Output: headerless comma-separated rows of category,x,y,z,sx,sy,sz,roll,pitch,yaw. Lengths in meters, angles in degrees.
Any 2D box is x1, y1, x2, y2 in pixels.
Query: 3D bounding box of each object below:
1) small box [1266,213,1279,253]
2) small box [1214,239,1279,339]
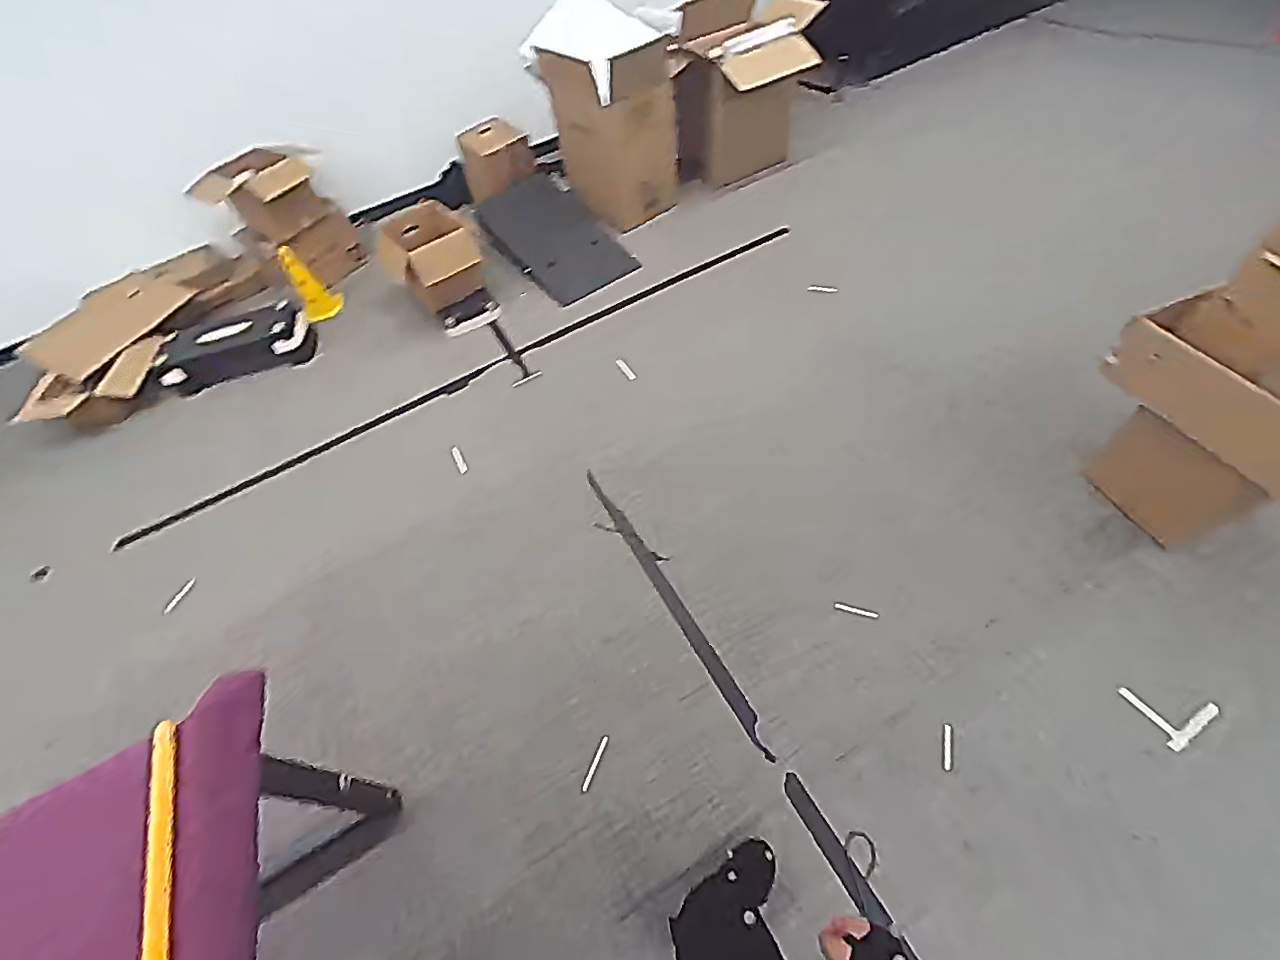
small box,1.477,-0.545,1.112,0.179,0.176,0.168,-12,53,0
small box,1.502,-0.450,1.244,0.179,0.176,0.168,-14,52,-3
